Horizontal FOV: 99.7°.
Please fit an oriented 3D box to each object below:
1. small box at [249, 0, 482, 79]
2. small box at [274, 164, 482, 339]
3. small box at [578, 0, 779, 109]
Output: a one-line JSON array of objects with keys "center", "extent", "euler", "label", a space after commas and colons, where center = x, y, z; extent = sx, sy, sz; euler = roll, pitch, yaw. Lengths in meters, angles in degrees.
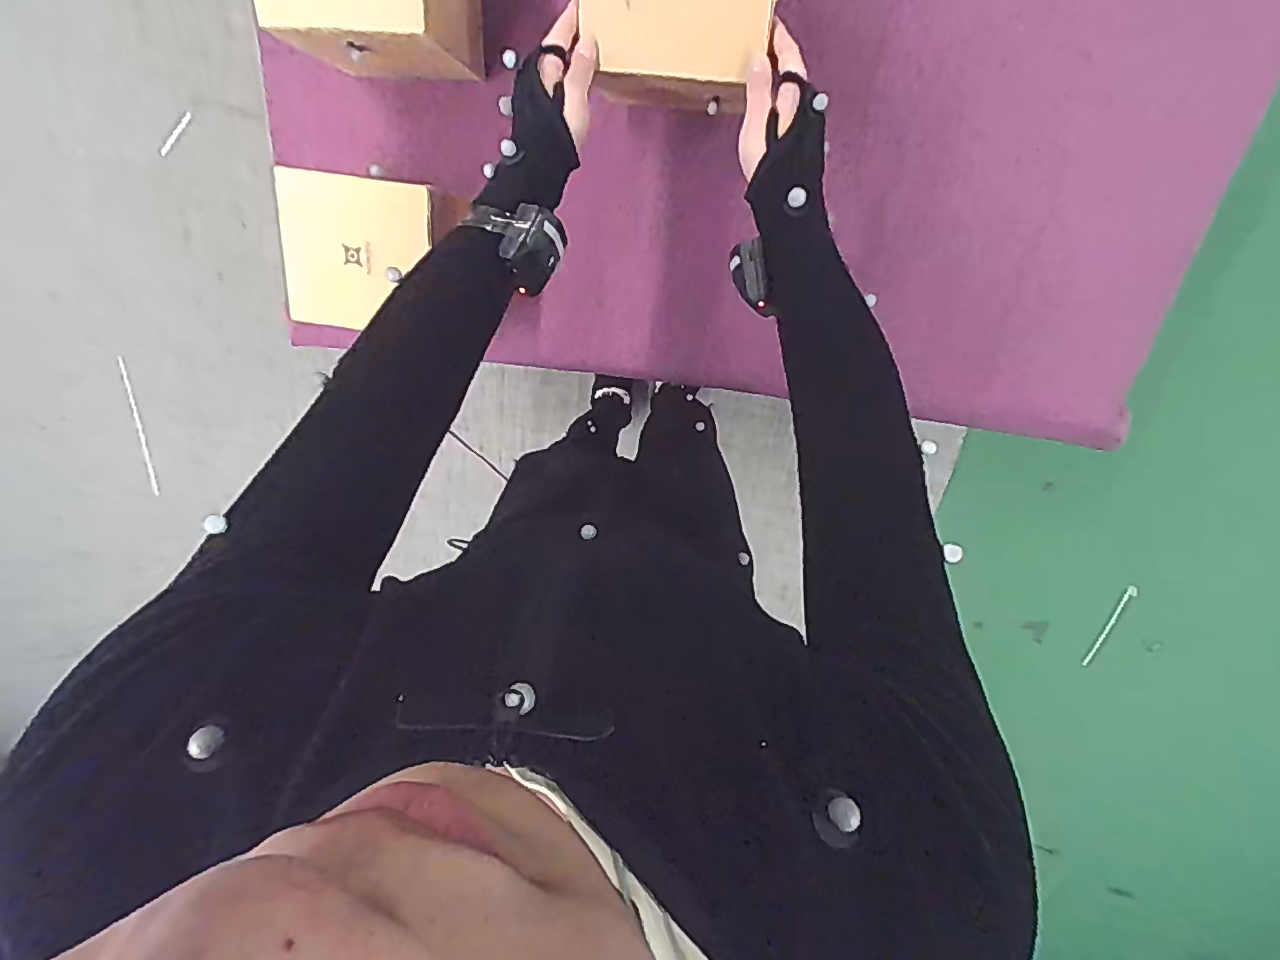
[{"center": [-0.283, -0.546, 0.570], "extent": [0.179, 0.176, 0.168], "euler": [5, 114, 3], "label": "small box"}, {"center": [-0.316, -0.282, 0.685], "extent": [0.179, 0.176, 0.168], "euler": [8, 112, 1], "label": "small box"}, {"center": [0.045, -0.480, 0.531], "extent": [0.179, 0.176, 0.168], "euler": [8, 117, 4], "label": "small box"}]
